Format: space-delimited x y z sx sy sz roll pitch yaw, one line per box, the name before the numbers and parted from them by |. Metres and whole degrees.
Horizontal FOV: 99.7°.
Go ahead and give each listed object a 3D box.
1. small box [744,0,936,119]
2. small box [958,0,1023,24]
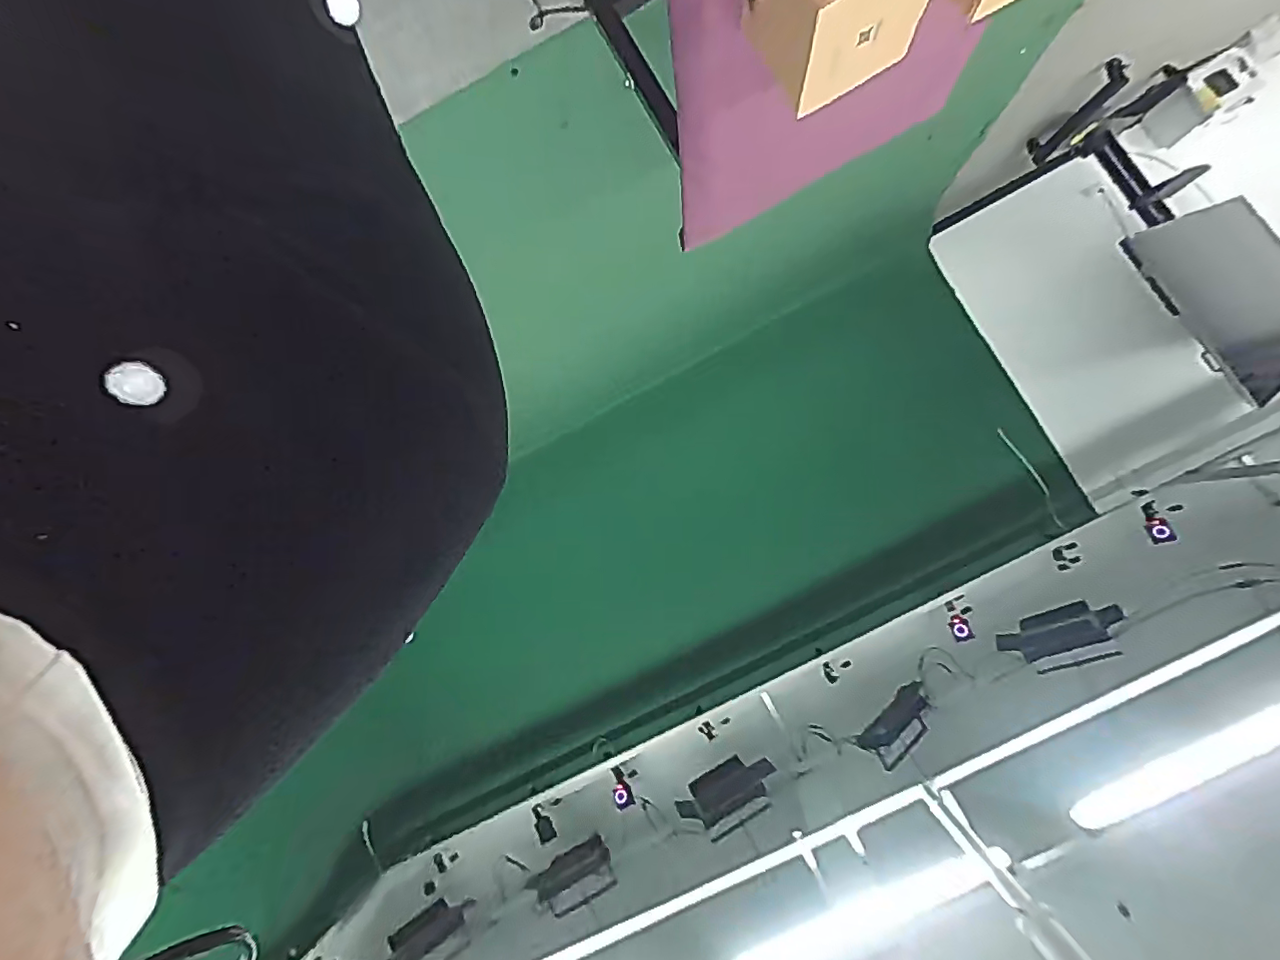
small box | 0.255 -0.624 0.686 0.179 0.176 0.168 -28 171 3
small box | 0.498 -0.753 0.680 0.179 0.176 0.168 -27 172 3
